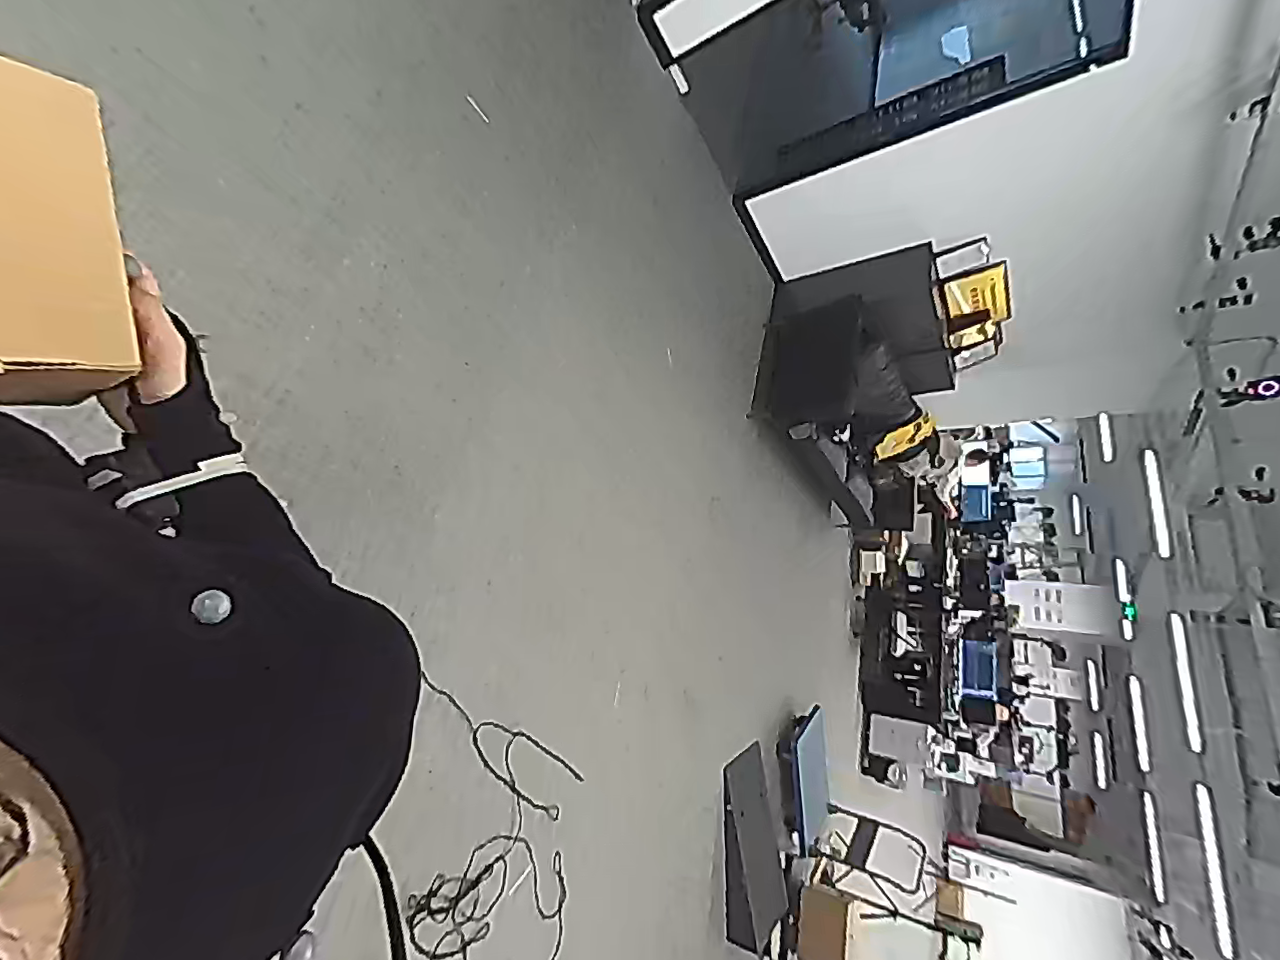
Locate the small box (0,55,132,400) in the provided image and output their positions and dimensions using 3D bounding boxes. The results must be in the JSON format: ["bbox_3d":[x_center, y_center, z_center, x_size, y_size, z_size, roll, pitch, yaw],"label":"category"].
[{"bbox_3d":[-0.442,-0.146,0.313,0.168,0.176,0.179,-12,99,-58],"label":"small box"}]
